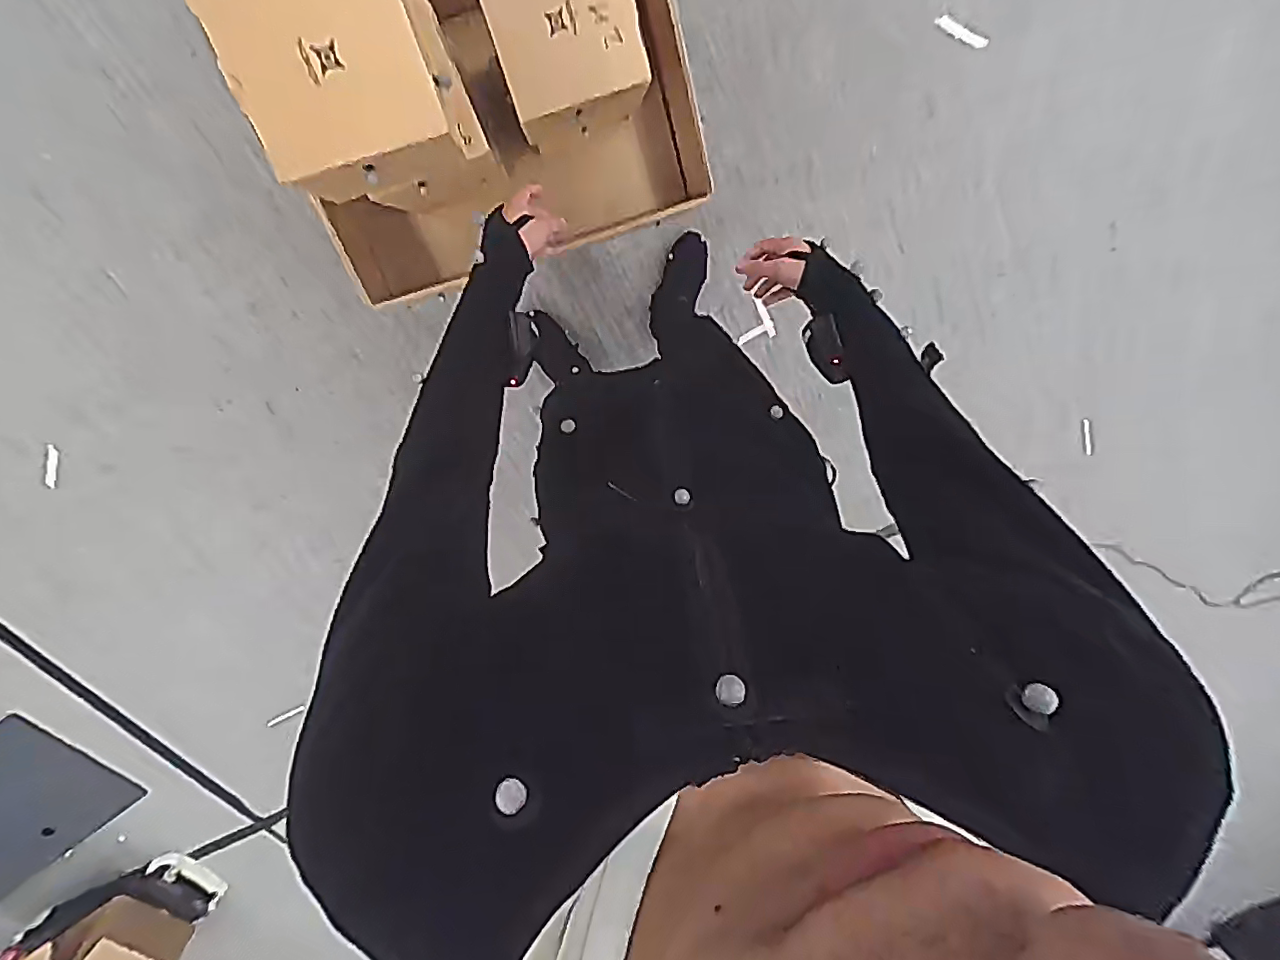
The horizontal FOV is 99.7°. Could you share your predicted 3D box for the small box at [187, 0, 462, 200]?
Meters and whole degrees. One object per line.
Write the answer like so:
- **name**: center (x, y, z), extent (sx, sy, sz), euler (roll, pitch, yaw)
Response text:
- **small box**: center (-0.302, -0.411, 0.567), extent (0.179, 0.176, 0.168), euler (-19, 114, -2)
